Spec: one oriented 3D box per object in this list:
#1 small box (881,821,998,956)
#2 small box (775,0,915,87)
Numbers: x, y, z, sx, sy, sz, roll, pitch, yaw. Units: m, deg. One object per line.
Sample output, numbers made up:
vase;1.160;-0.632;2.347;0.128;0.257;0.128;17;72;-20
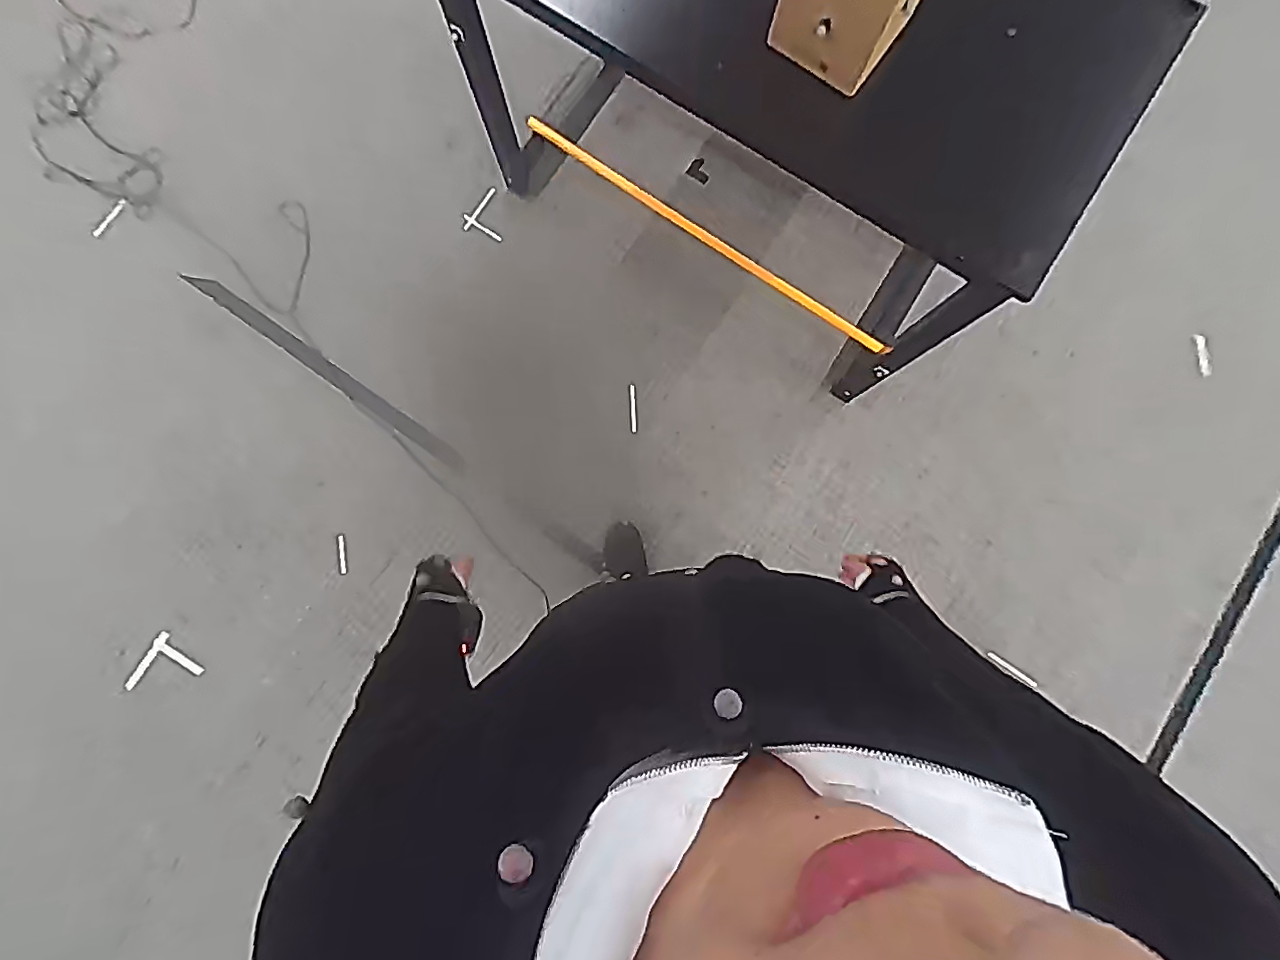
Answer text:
small box;0.736;1.010;1.353;0.168;0.176;0.179;28;85;2
small box;0.317;-0.735;0.789;0.168;0.176;0.179;35;85;3
